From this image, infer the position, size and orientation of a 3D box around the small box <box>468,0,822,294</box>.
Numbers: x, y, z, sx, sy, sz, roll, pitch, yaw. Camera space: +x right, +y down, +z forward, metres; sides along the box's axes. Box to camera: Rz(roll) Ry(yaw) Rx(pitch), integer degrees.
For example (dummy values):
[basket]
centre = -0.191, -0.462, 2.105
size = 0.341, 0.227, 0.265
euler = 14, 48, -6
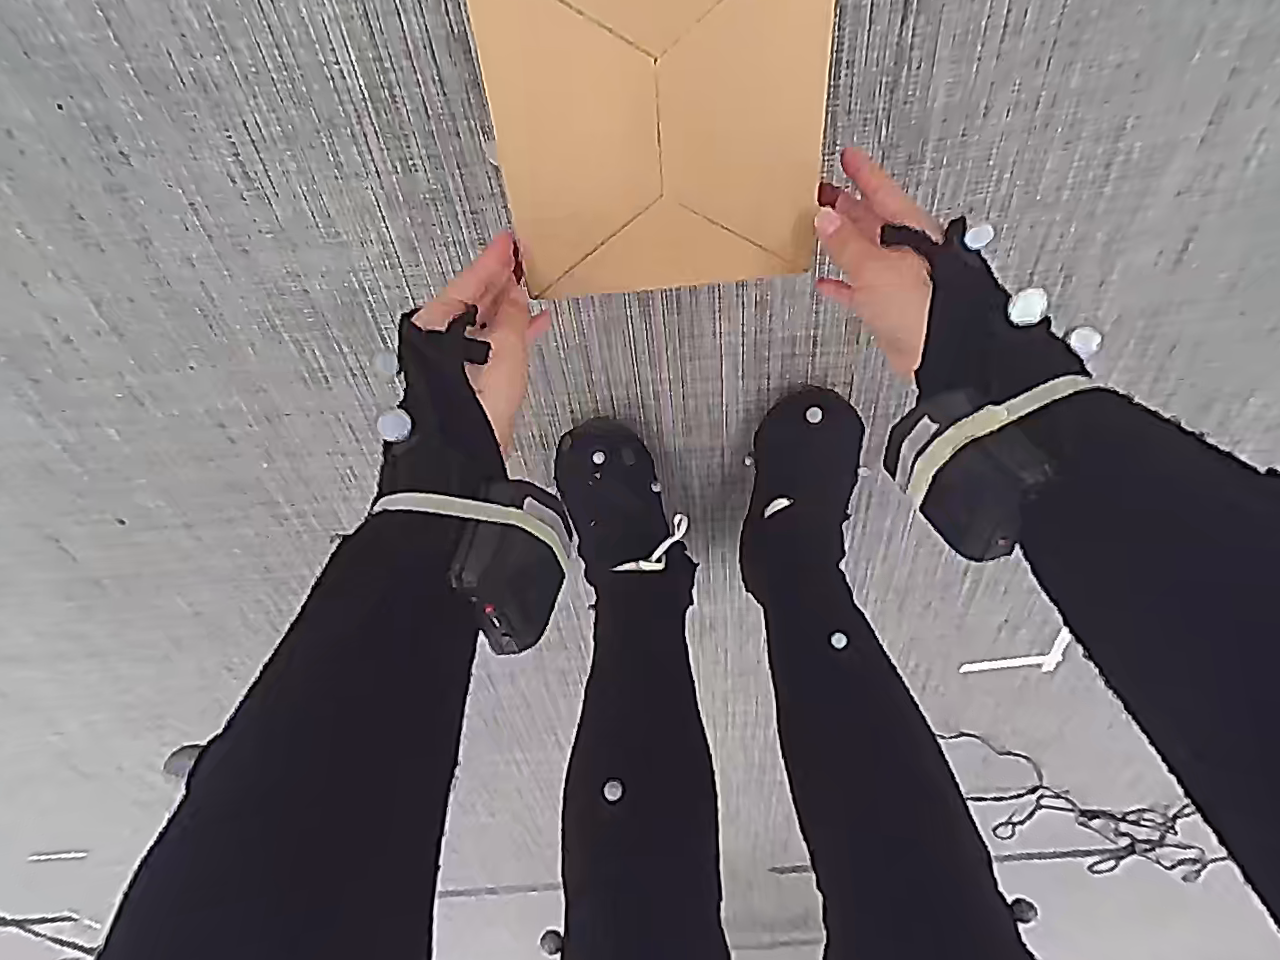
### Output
[small box]
centre = 0.009, -0.233, 0.352
size = 0.179, 0.176, 0.168
euler = -5, 127, 1
